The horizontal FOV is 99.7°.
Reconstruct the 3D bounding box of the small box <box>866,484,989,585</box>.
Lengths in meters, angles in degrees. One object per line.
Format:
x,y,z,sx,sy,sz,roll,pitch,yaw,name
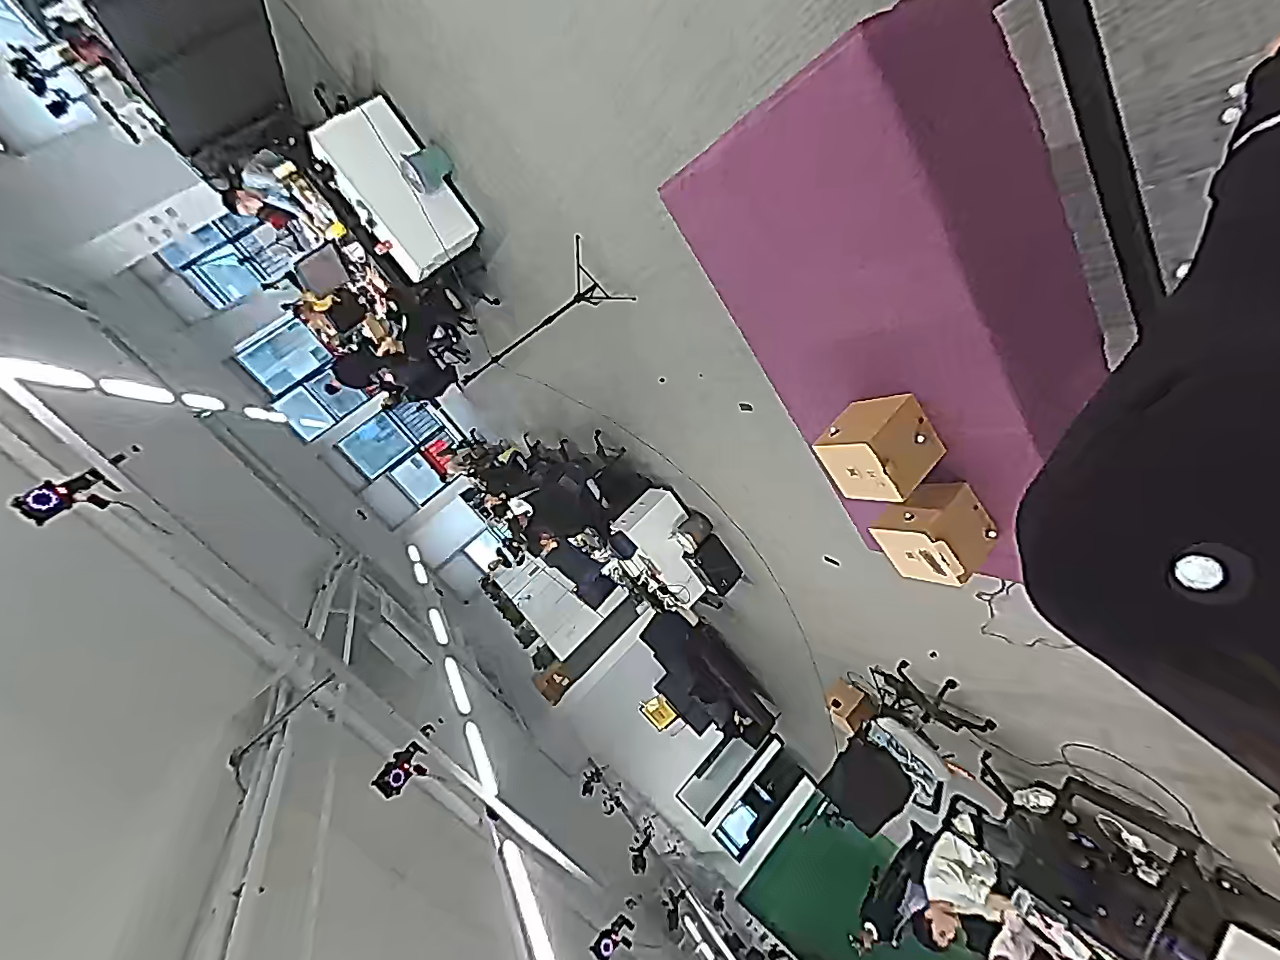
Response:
0.689,0.122,1.286,0.168,0.176,0.179,51,164,-12,small box

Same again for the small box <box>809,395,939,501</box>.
0.531,-0.073,1.229,0.168,0.176,0.179,51,162,-16,small box
